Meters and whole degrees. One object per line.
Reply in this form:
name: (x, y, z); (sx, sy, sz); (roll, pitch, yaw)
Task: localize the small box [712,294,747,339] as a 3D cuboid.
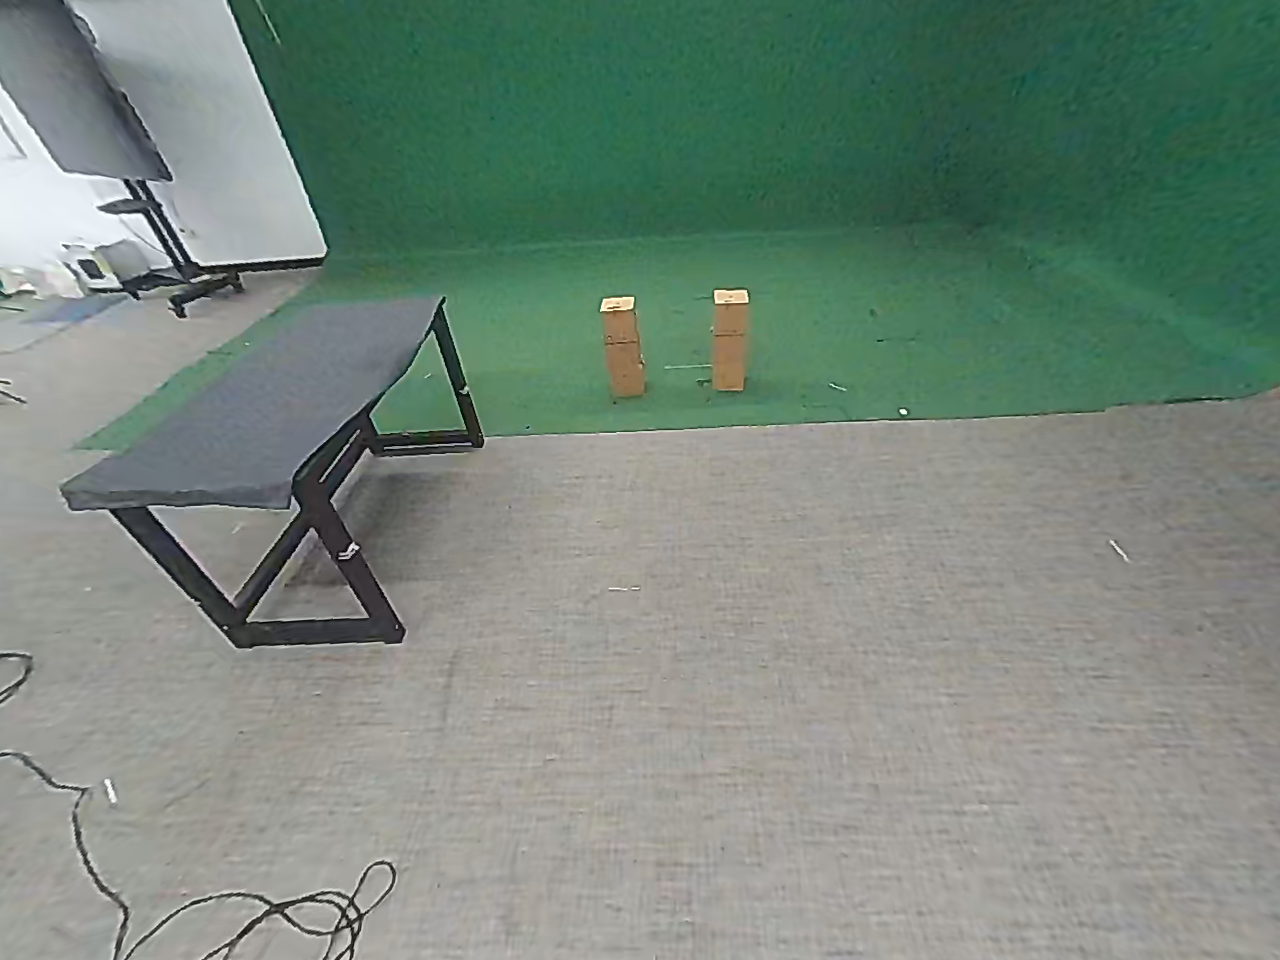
small box: (0.451, -0.831, 2.740); (0.168, 0.176, 0.179); (1, 39, 5)

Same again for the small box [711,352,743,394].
small box: (0.478, -0.584, 2.955); (0.168, 0.176, 0.179); (3, 40, 9)

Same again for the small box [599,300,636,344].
small box: (-0.109, -0.802, 2.761); (0.168, 0.176, 0.179); (-2, 39, 5)

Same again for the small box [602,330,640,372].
small box: (-0.098, -0.683, 2.875); (0.179, 0.176, 0.168); (-1, 40, 5)

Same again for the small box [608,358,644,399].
small box: (-0.075, -0.559, 2.977); (0.179, 0.176, 0.168); (-3, 40, 3)
